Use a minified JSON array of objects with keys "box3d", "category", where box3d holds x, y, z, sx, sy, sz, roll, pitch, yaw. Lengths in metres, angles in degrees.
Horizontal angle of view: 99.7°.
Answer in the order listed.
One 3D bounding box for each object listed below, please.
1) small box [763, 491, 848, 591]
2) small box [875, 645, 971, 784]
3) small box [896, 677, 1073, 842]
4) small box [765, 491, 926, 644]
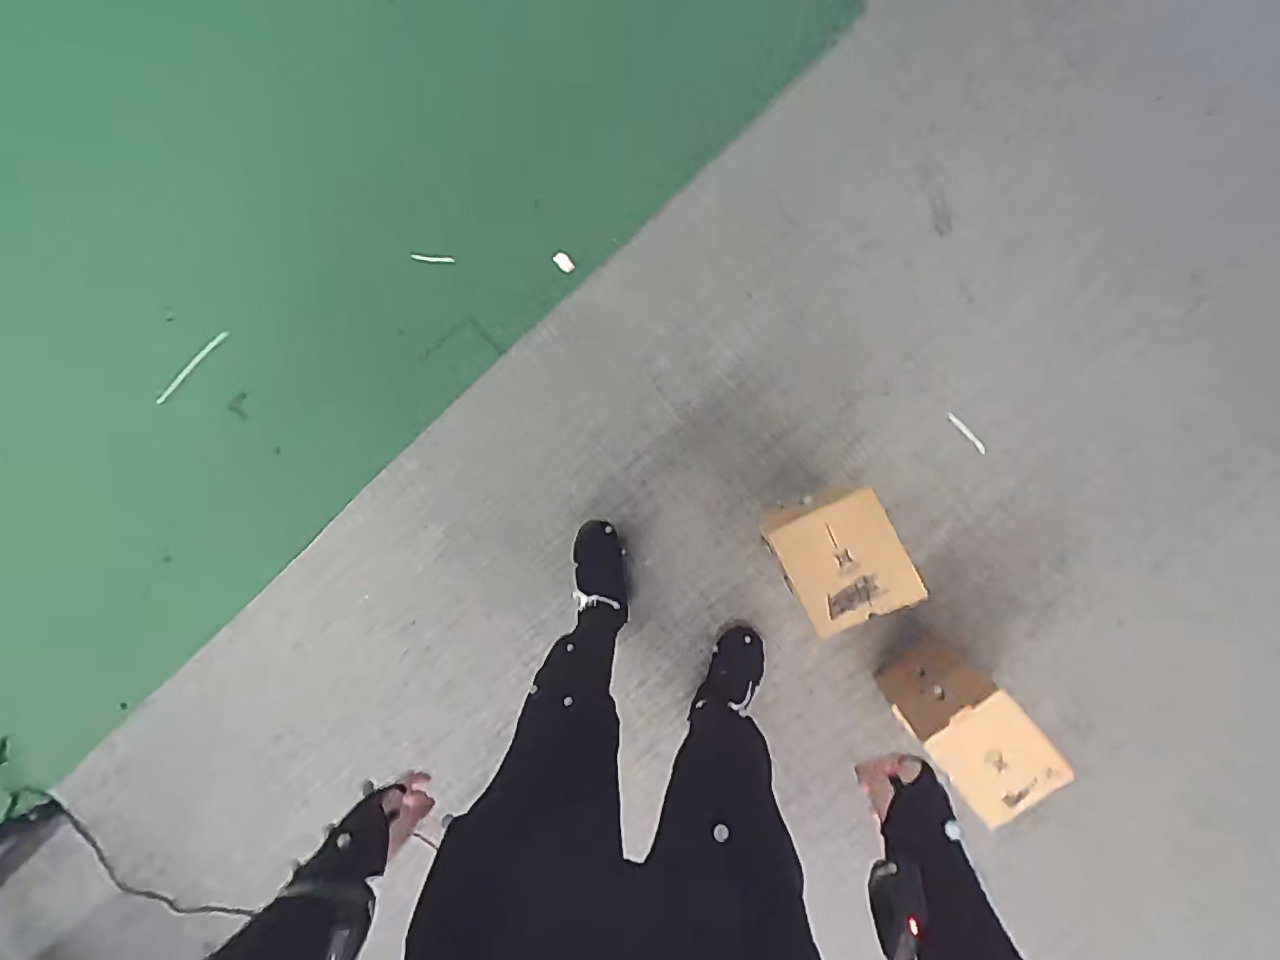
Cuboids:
[{"box3d":[0.373,0.126,1.162,0.179,0.176,0.168,-18,87,11],"category":"small box"},{"box3d":[0.611,0.472,1.112,0.179,0.176,0.168,-39,82,8],"category":"small box"},{"box3d":[0.585,0.472,0.950,0.168,0.176,0.179,-37,82,9],"category":"small box"},{"box3d":[0.306,0.125,0.841,0.168,0.176,0.179,-24,84,10],"category":"small box"}]
